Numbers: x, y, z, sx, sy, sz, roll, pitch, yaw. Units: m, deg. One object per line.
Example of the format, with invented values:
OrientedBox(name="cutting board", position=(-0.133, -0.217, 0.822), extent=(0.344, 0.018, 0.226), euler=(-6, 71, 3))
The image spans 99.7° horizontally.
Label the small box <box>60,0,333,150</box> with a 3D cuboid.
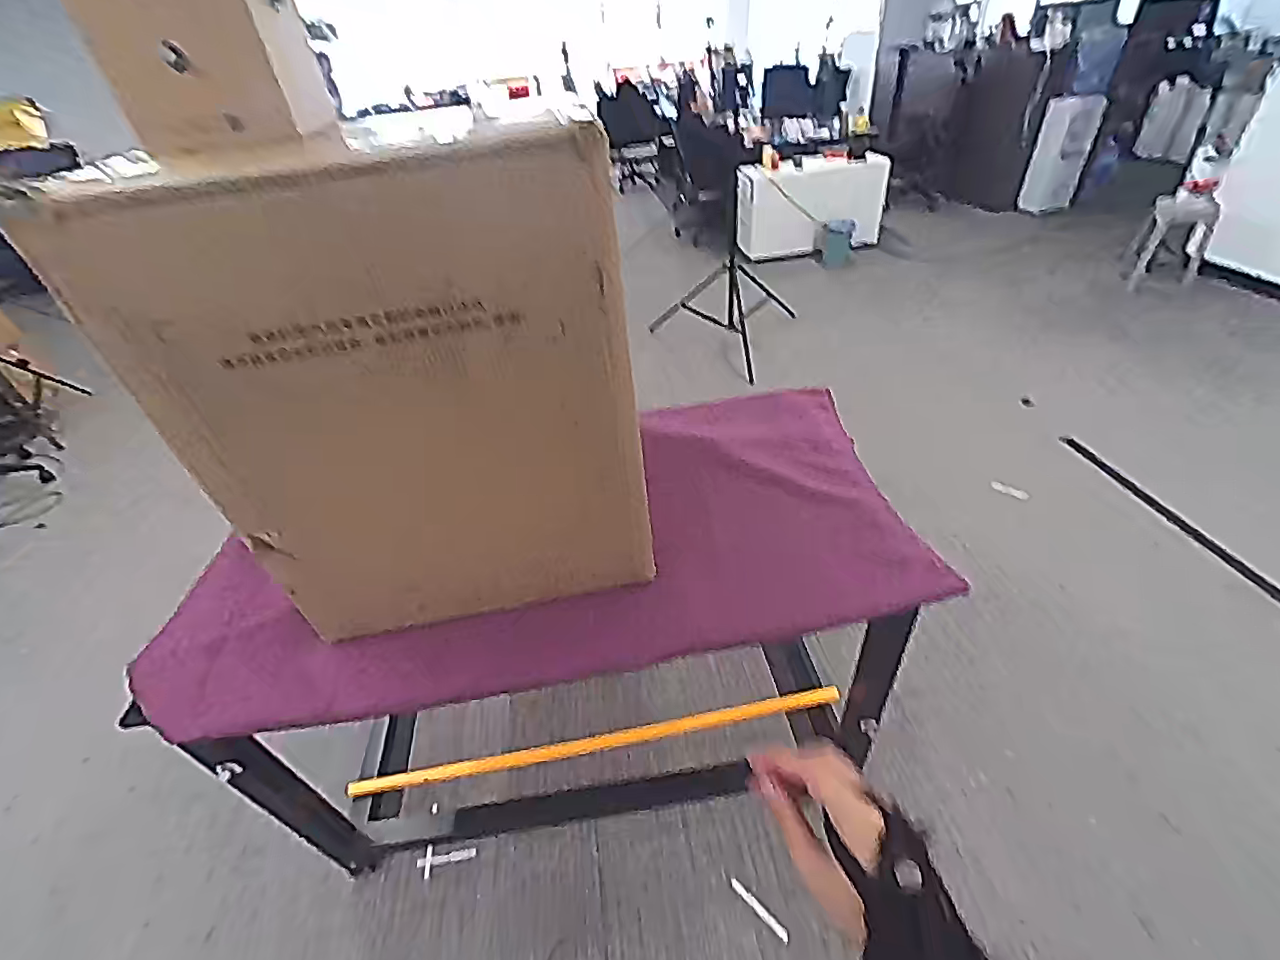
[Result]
OrientedBox(name="small box", position=(-0.479, -0.482, 0.610), extent=(0.168, 0.176, 0.179), euler=(-9, 39, -6))
